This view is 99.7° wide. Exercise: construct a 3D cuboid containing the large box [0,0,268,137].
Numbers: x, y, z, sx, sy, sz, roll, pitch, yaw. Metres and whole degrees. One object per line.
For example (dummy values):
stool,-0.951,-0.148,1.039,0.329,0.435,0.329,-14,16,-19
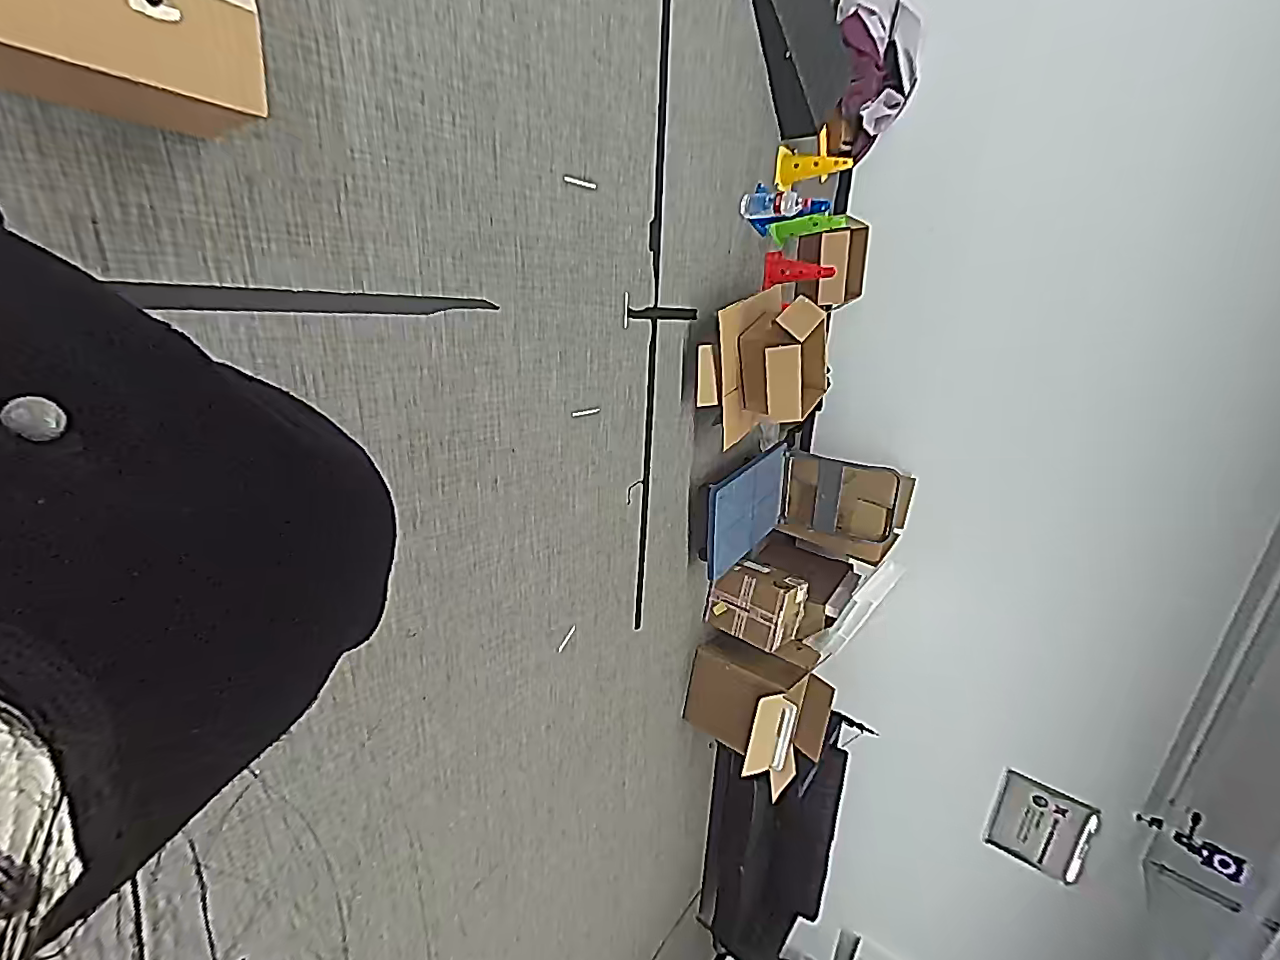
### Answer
large box,-0.860,-0.757,0.804,0.408,0.320,0.320,-17,118,-51
